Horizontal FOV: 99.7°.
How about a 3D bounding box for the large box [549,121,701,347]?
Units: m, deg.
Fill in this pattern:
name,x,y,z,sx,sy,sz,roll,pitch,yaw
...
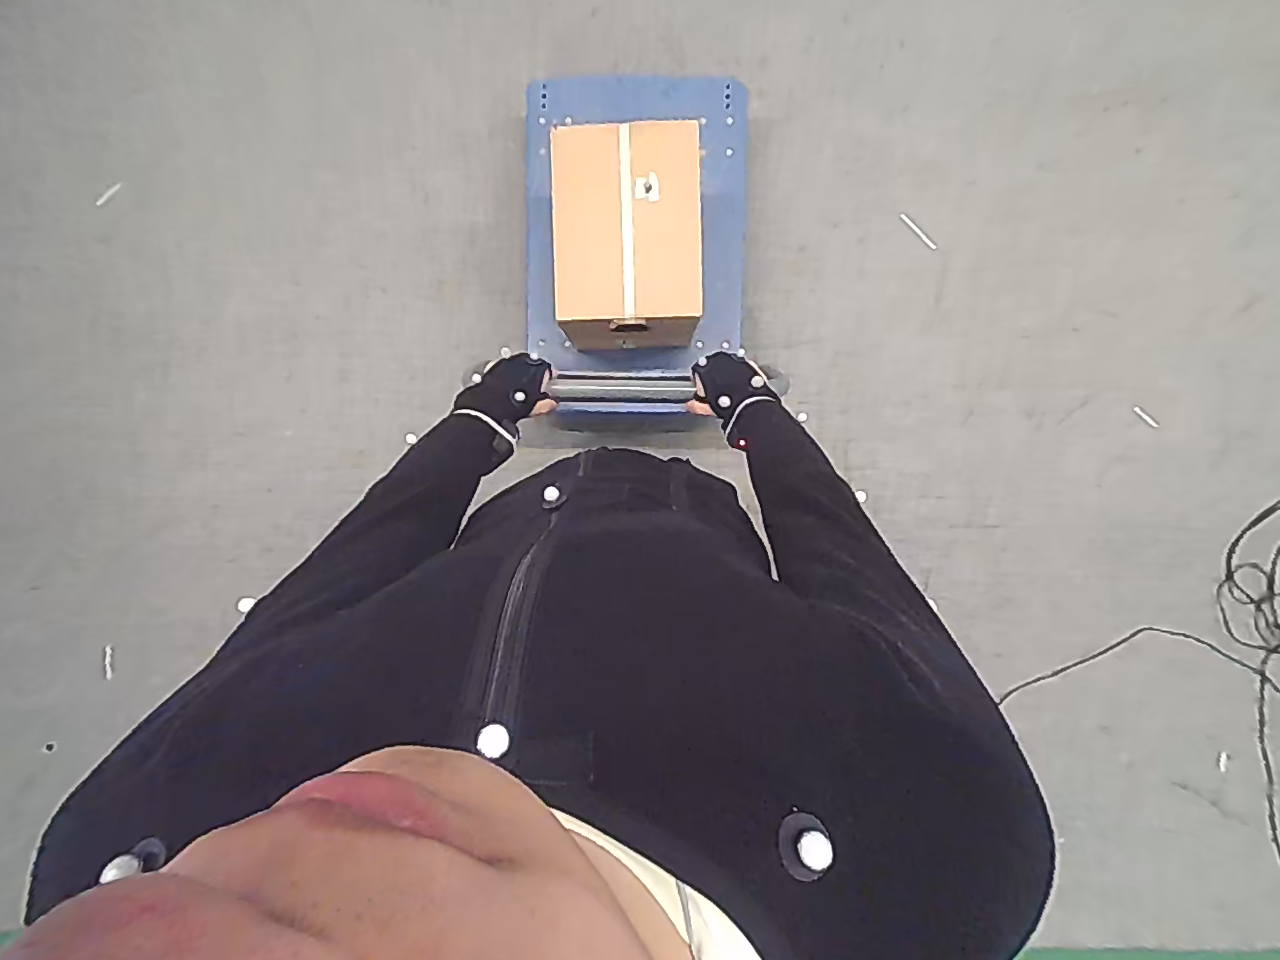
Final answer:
name,x,y,z,sx,sy,sz,roll,pitch,yaw
large box,-0.028,-0.553,1.288,0.320,0.320,0.408,-1,93,1
